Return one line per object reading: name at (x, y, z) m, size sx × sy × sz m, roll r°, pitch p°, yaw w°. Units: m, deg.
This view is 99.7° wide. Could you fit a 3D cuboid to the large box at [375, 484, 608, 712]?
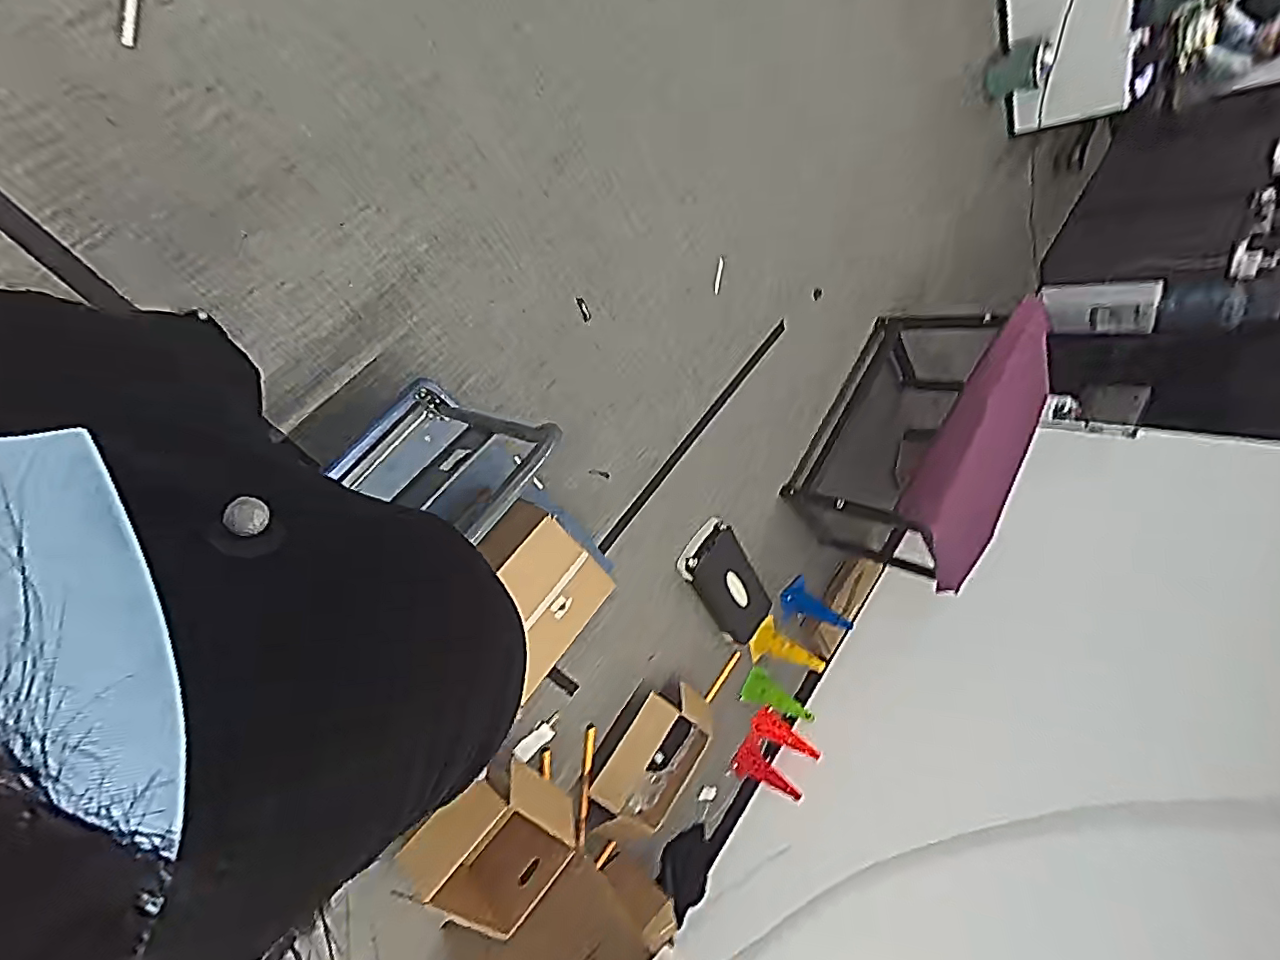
large box at (-0.365, 0.278, 1.351) m, size 0.408 × 0.320 × 0.320 m, roll -51°, pitch 130°, yaw -20°
